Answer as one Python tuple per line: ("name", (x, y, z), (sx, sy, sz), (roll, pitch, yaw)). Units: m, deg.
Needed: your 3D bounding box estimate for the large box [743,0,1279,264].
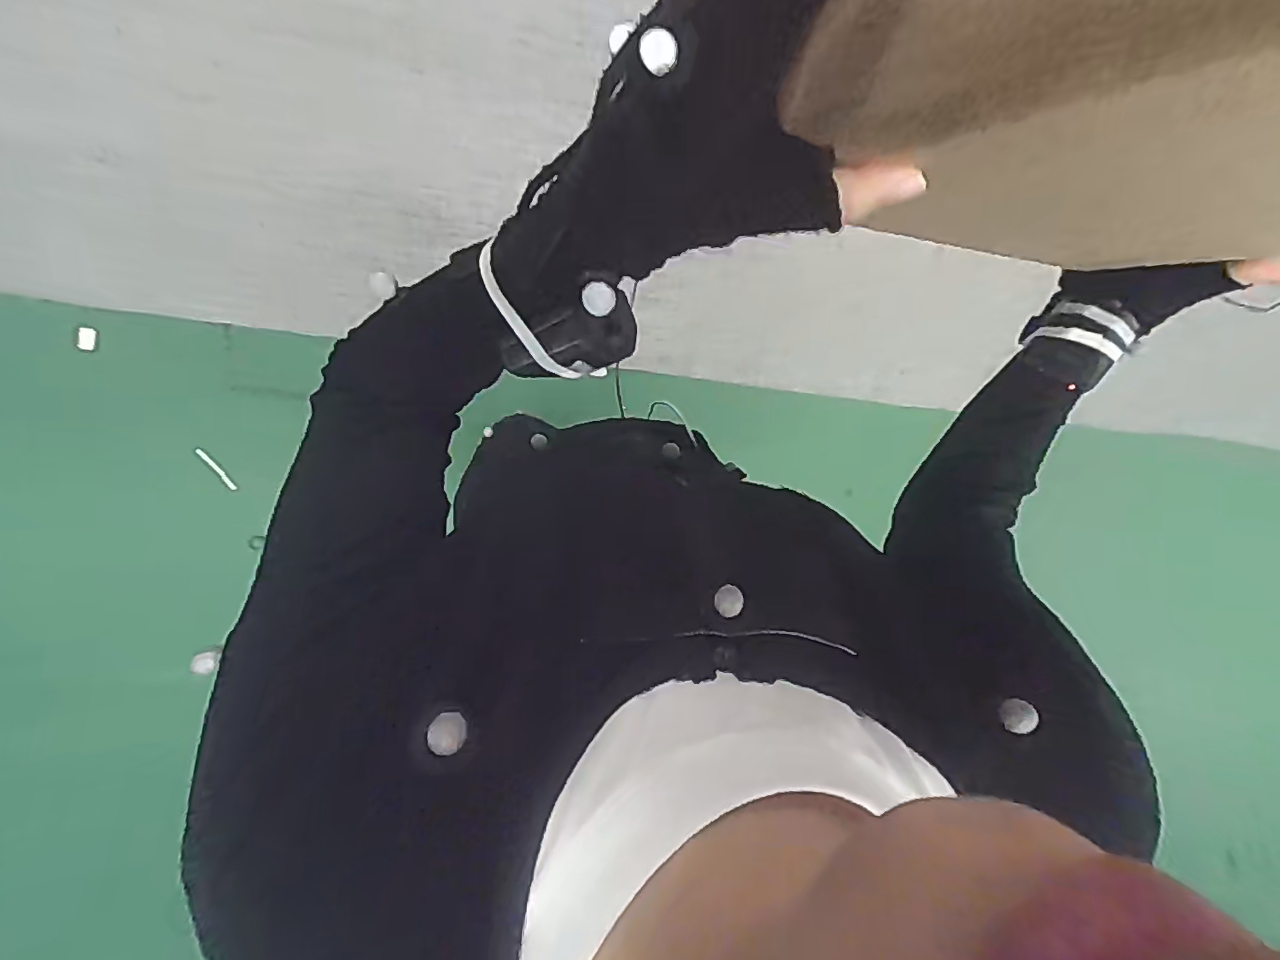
("large box", (0.289, -0.269, 0.199), (0.408, 0.320, 0.320), (-9, 109, -32))
